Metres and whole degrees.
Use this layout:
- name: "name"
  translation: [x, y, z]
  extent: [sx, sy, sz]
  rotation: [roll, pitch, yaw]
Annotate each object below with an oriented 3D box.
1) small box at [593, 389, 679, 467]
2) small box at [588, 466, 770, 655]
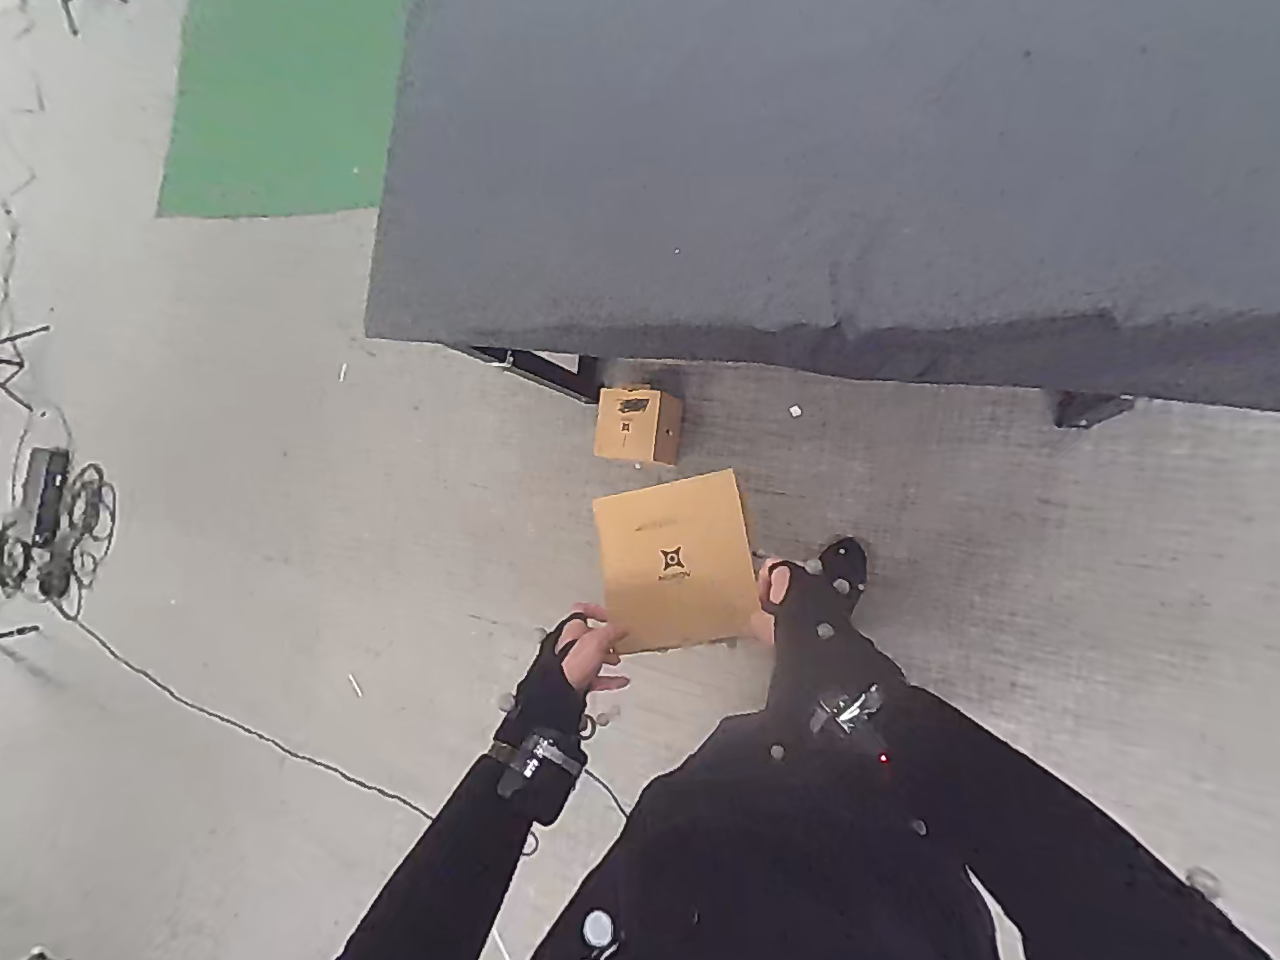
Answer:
- name: "small box"
  translation: [-0.004, -0.131, 1.396]
  extent: [0.168, 0.176, 0.179]
  rotation: [6, 90, 23]
- name: "small box"
  translation: [0.055, 0.098, 0.646]
  extent: [0.168, 0.176, 0.179]
  rotation: [-14, 76, 13]
